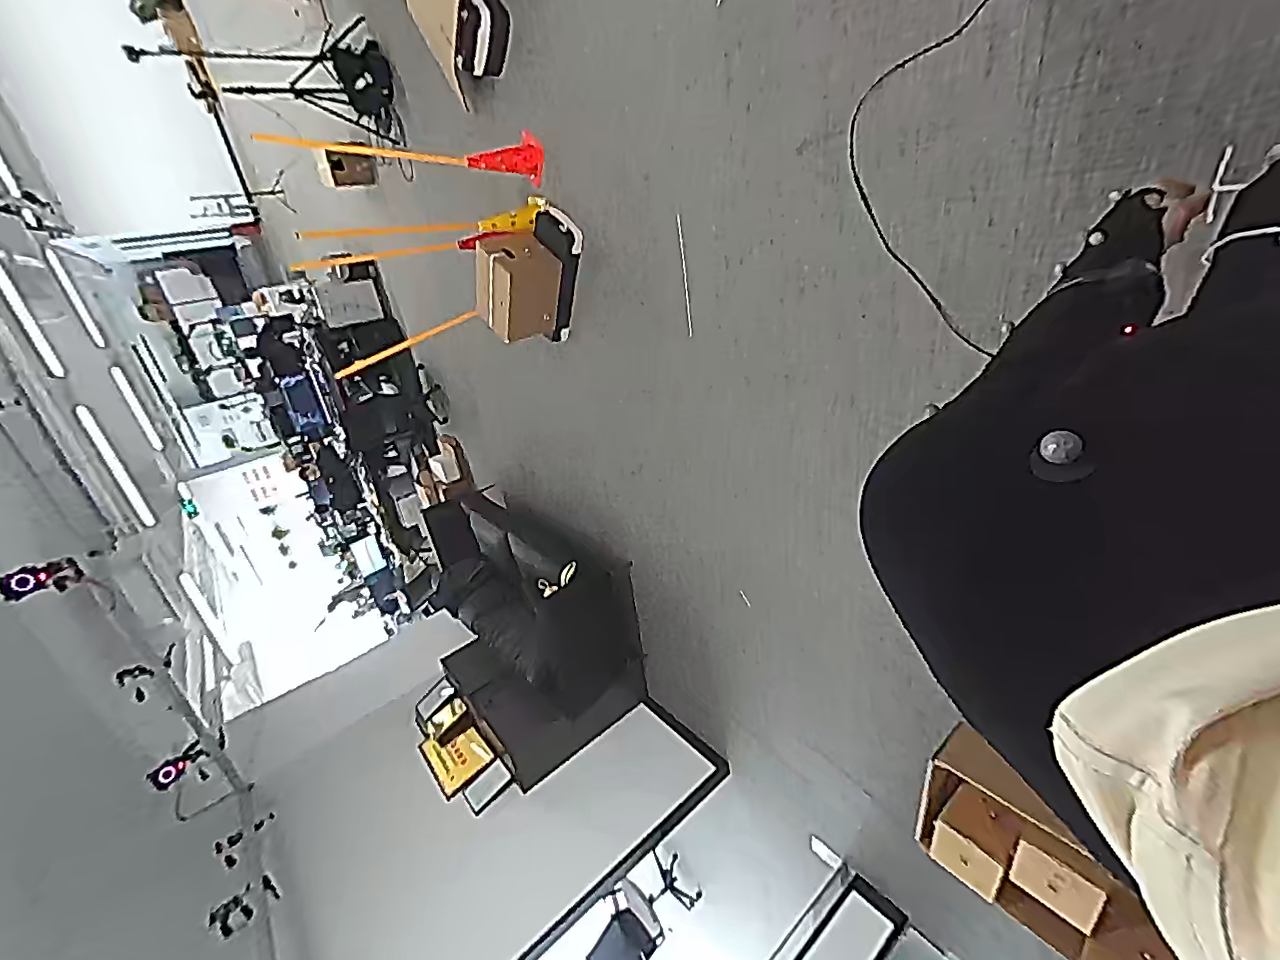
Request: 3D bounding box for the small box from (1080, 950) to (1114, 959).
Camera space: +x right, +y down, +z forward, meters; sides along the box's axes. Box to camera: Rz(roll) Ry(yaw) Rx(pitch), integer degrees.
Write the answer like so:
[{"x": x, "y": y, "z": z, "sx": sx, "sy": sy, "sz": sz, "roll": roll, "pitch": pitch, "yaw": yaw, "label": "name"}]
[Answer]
[{"x": 1.018, "y": 1.168, "z": 1.156, "sx": 0.179, "sy": 0.176, "sz": 0.168, "roll": 24, "pitch": 130, "yaw": 47, "label": "small box"}]
